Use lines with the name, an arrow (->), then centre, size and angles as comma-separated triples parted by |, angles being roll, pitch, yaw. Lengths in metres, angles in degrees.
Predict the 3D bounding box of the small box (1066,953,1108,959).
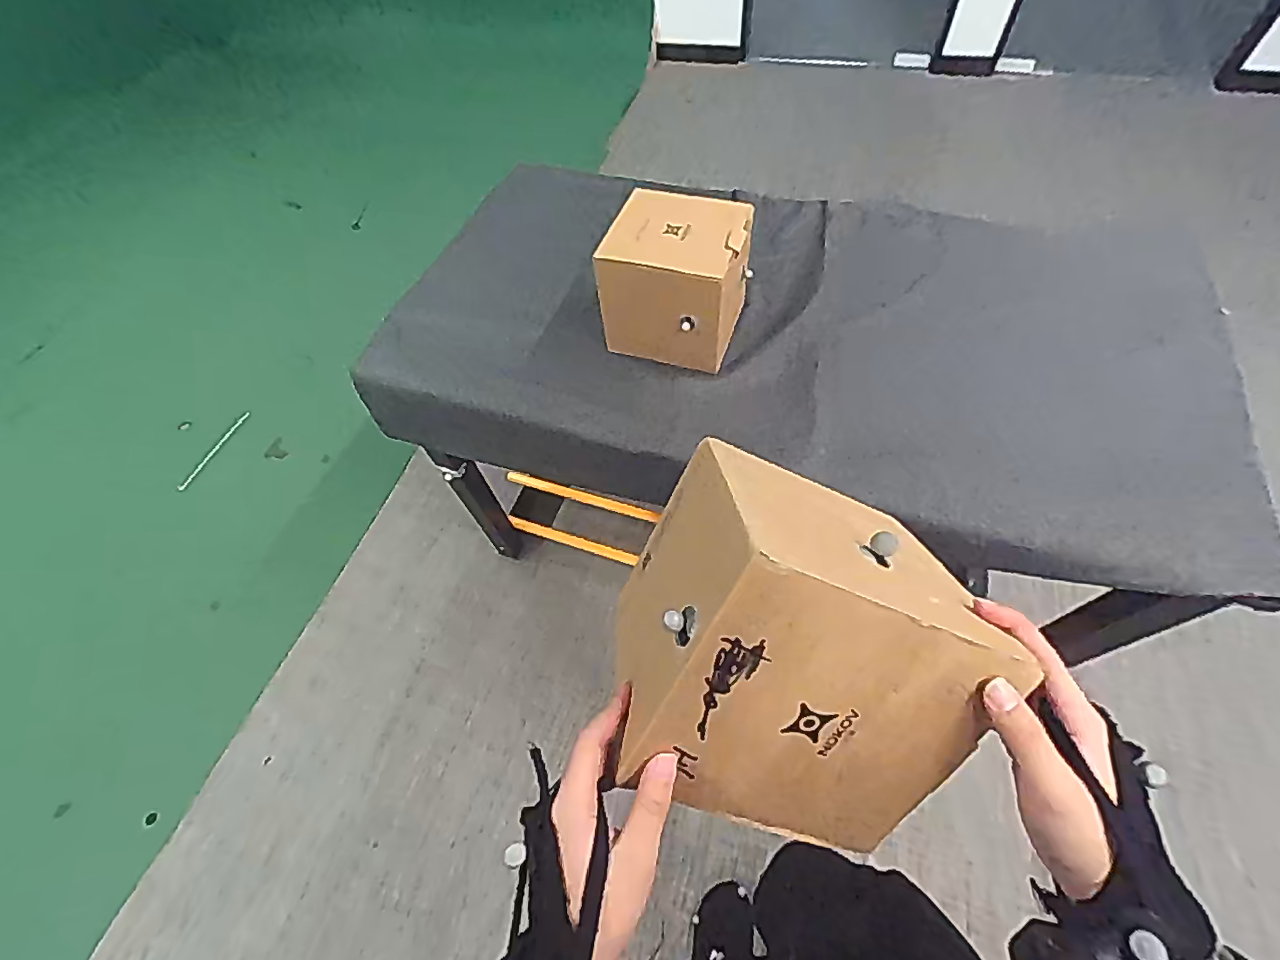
small box -> 0.821, 0.879, 0.846 | 0.179, 0.176, 0.168 | 9, 58, 11

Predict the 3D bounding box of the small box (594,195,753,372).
small box -> 0.053, -0.281, 0.787 | 0.179, 0.176, 0.168 | 14, 59, 14

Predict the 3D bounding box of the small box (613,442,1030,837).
small box -> 0.092, 0.094, 0.367 | 0.179, 0.168, 0.176 | 22, 20, -12
